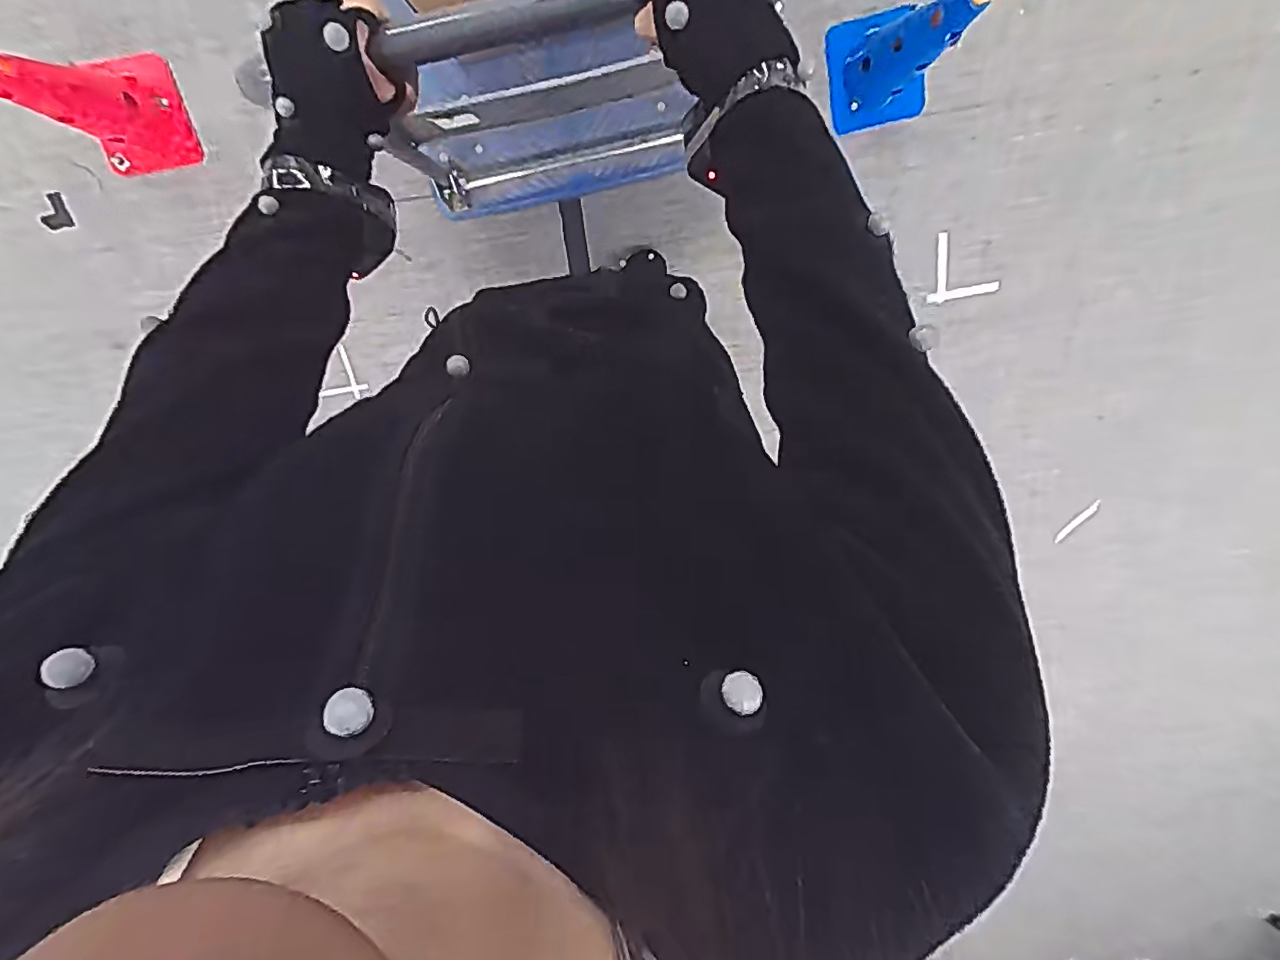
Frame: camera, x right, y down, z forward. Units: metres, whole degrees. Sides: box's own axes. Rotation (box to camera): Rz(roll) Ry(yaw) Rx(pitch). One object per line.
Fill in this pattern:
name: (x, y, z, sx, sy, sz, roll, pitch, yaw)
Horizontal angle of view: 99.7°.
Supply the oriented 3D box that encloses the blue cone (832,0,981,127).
blue cone: (0.510, -0.803, 0.981, 0.193, 0.380, 0.192, -12, 111, 2)
